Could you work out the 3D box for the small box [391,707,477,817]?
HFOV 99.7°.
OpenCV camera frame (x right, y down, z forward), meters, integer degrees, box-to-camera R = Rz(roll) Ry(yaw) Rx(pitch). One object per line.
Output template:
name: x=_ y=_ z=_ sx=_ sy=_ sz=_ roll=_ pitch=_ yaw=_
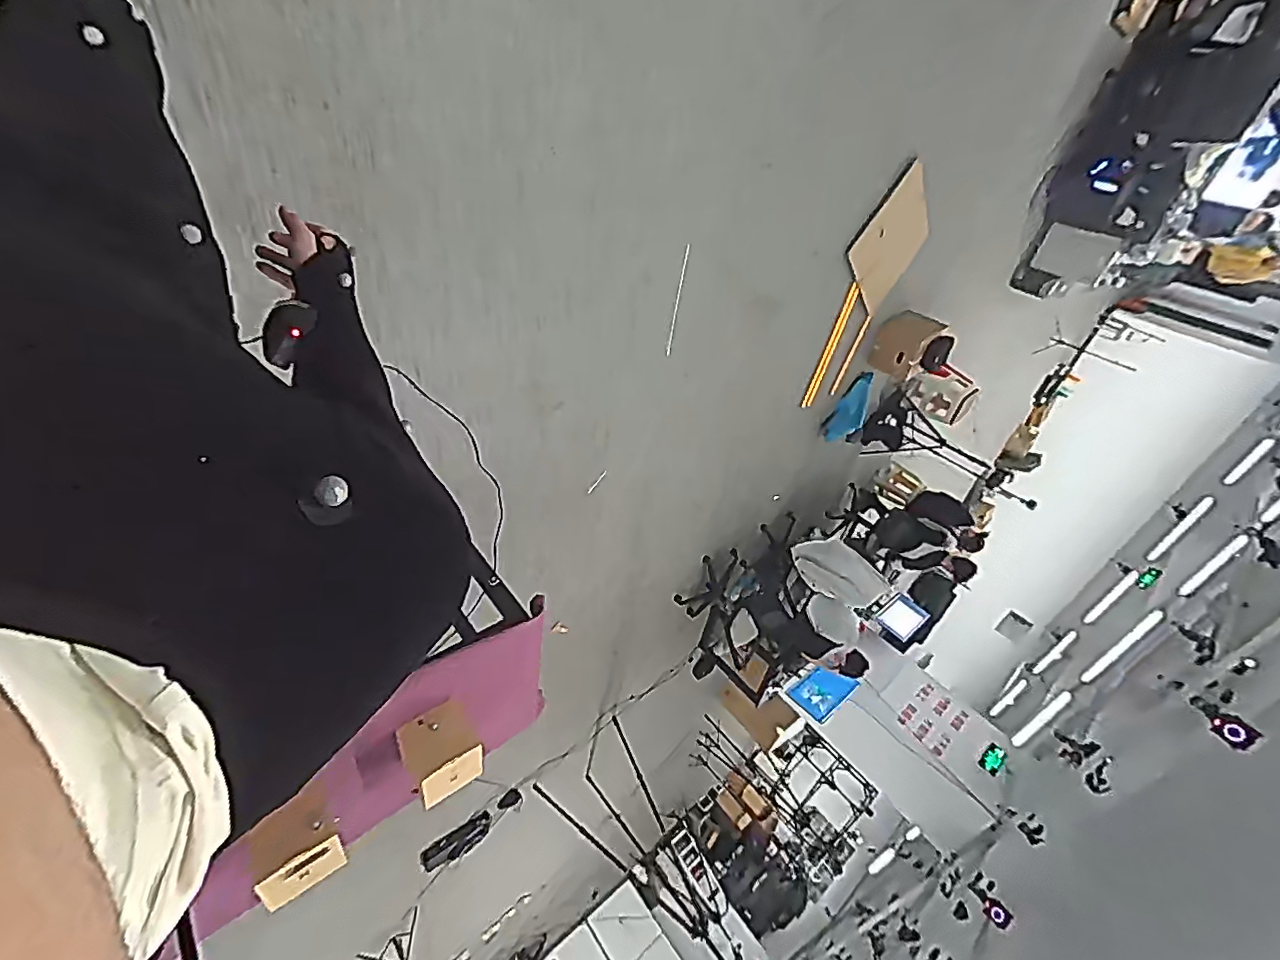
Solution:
small box: x=-0.562 y=0.764 z=1.478 sx=0.168 sy=0.176 sz=0.179 roll=-21 pitch=137 yaw=-37
